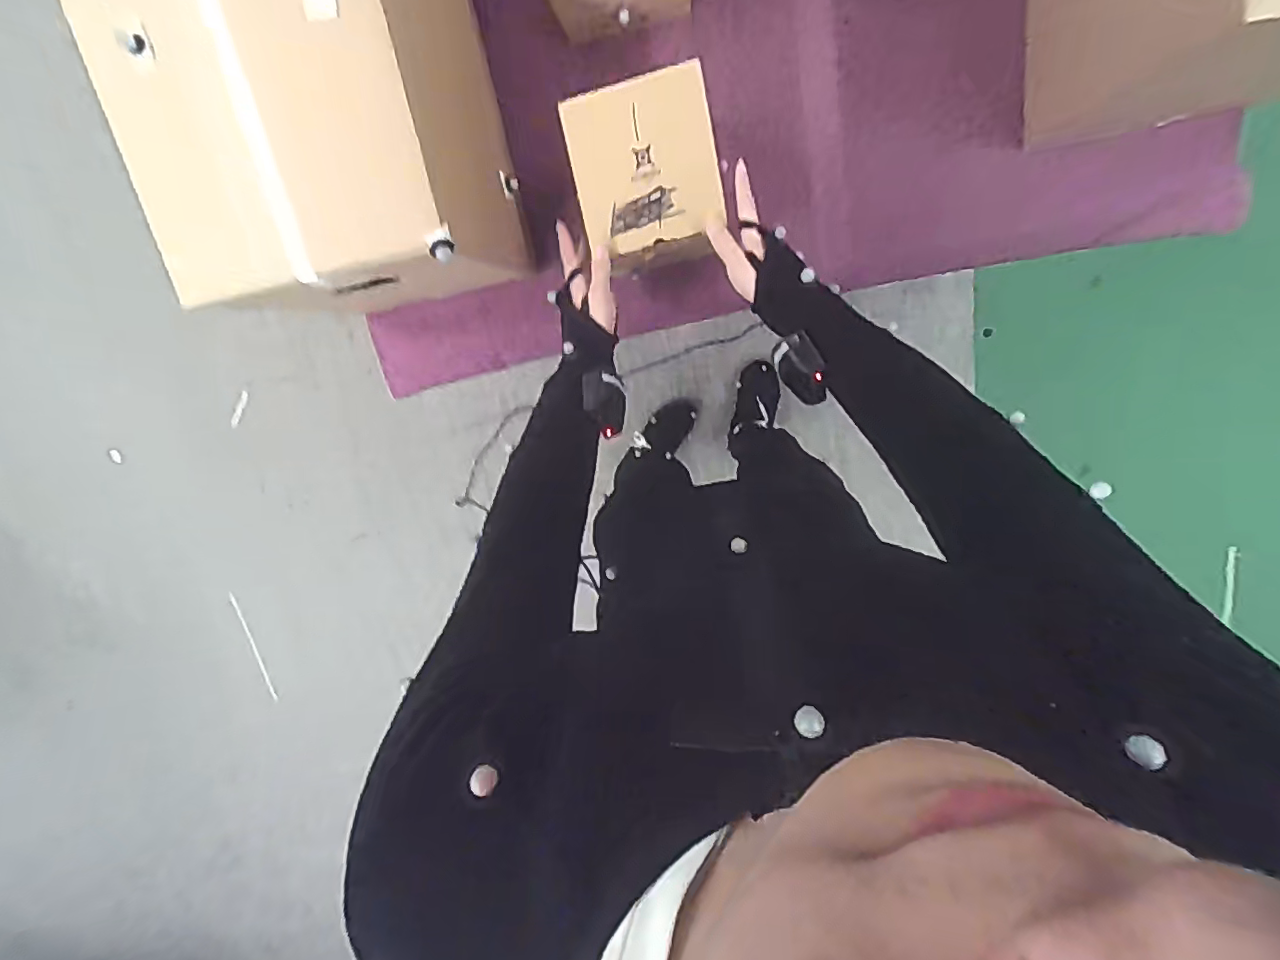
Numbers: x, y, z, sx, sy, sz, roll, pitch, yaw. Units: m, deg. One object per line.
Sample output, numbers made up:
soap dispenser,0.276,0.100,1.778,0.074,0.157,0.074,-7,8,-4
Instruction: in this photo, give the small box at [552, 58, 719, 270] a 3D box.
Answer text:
small box,0.008,-0.378,0.689,0.168,0.176,0.179,-11,102,10
